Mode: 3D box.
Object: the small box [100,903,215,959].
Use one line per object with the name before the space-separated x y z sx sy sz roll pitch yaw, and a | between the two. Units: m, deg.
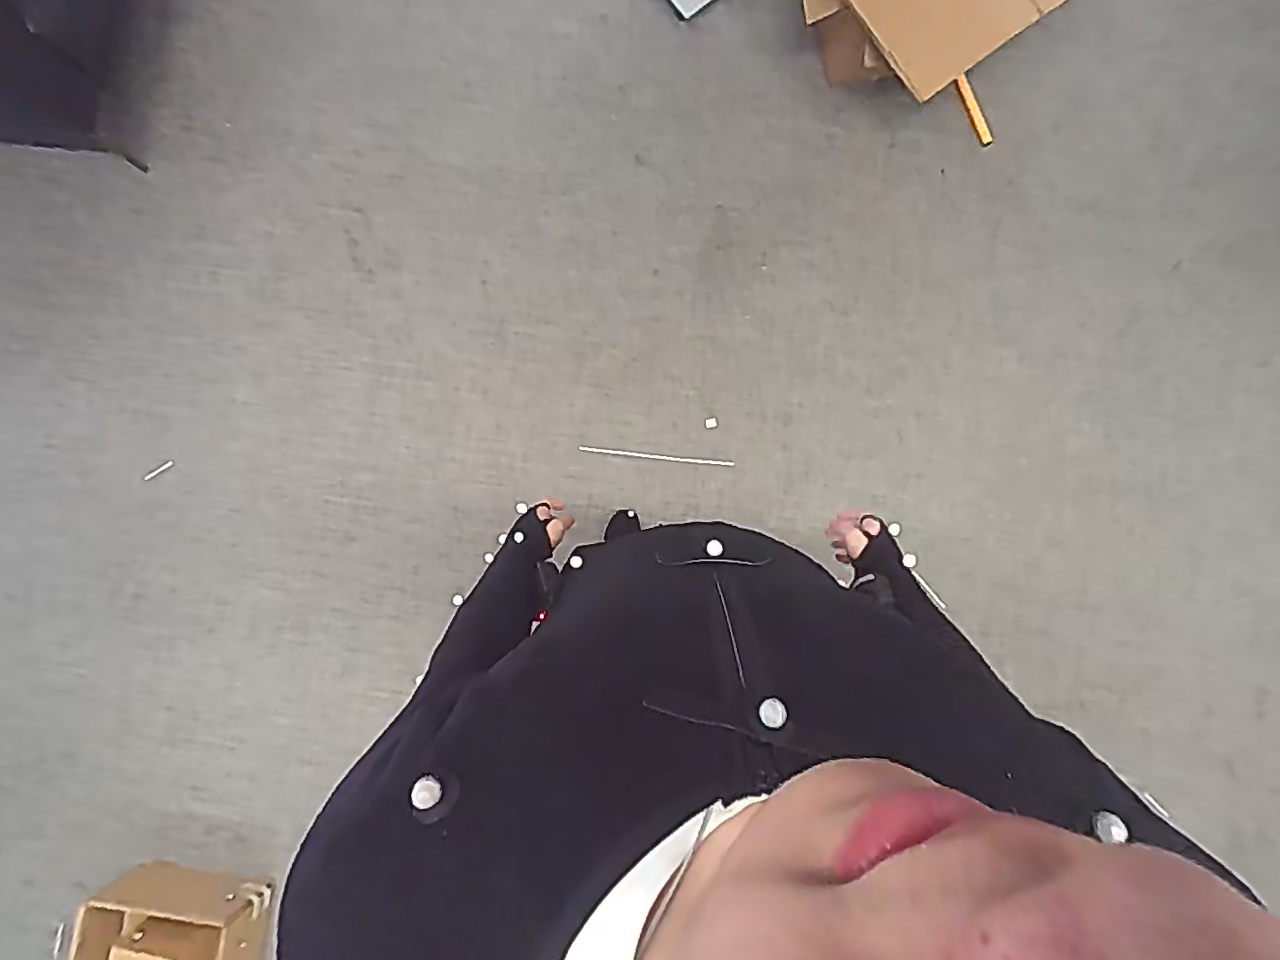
small box | -1.293 1.281 1.445 0.179 0.176 0.168 12 86 2
